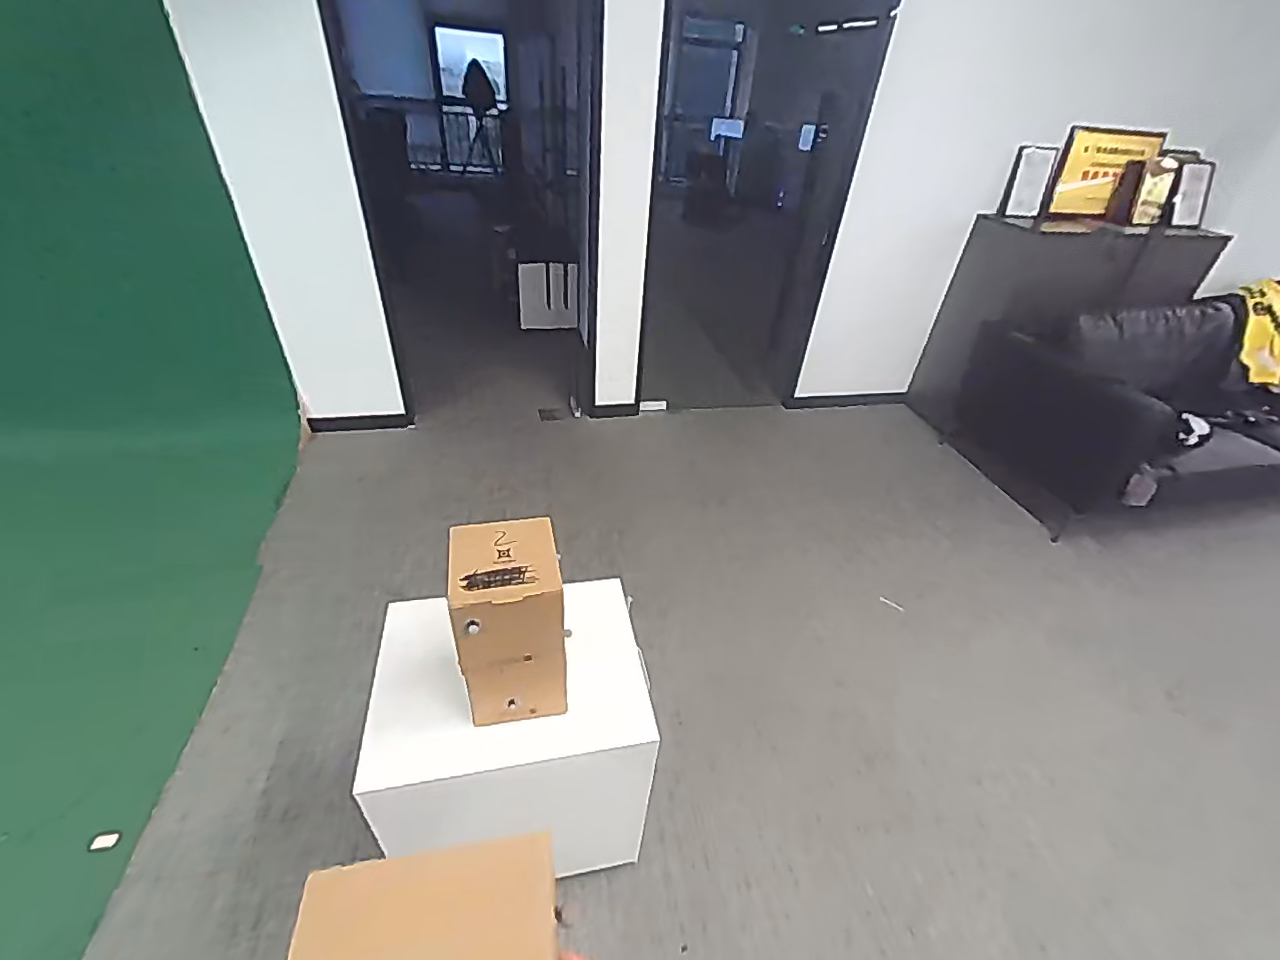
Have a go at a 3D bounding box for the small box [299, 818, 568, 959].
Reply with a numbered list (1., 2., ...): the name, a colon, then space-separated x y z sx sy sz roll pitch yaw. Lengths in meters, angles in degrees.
1. small box: -0.132 0.372 0.374 0.168 0.176 0.179 -3 39 -11

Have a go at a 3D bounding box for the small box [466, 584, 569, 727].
1. small box: -0.222 0.318 0.989 0.168 0.176 0.179 -4 37 -13
